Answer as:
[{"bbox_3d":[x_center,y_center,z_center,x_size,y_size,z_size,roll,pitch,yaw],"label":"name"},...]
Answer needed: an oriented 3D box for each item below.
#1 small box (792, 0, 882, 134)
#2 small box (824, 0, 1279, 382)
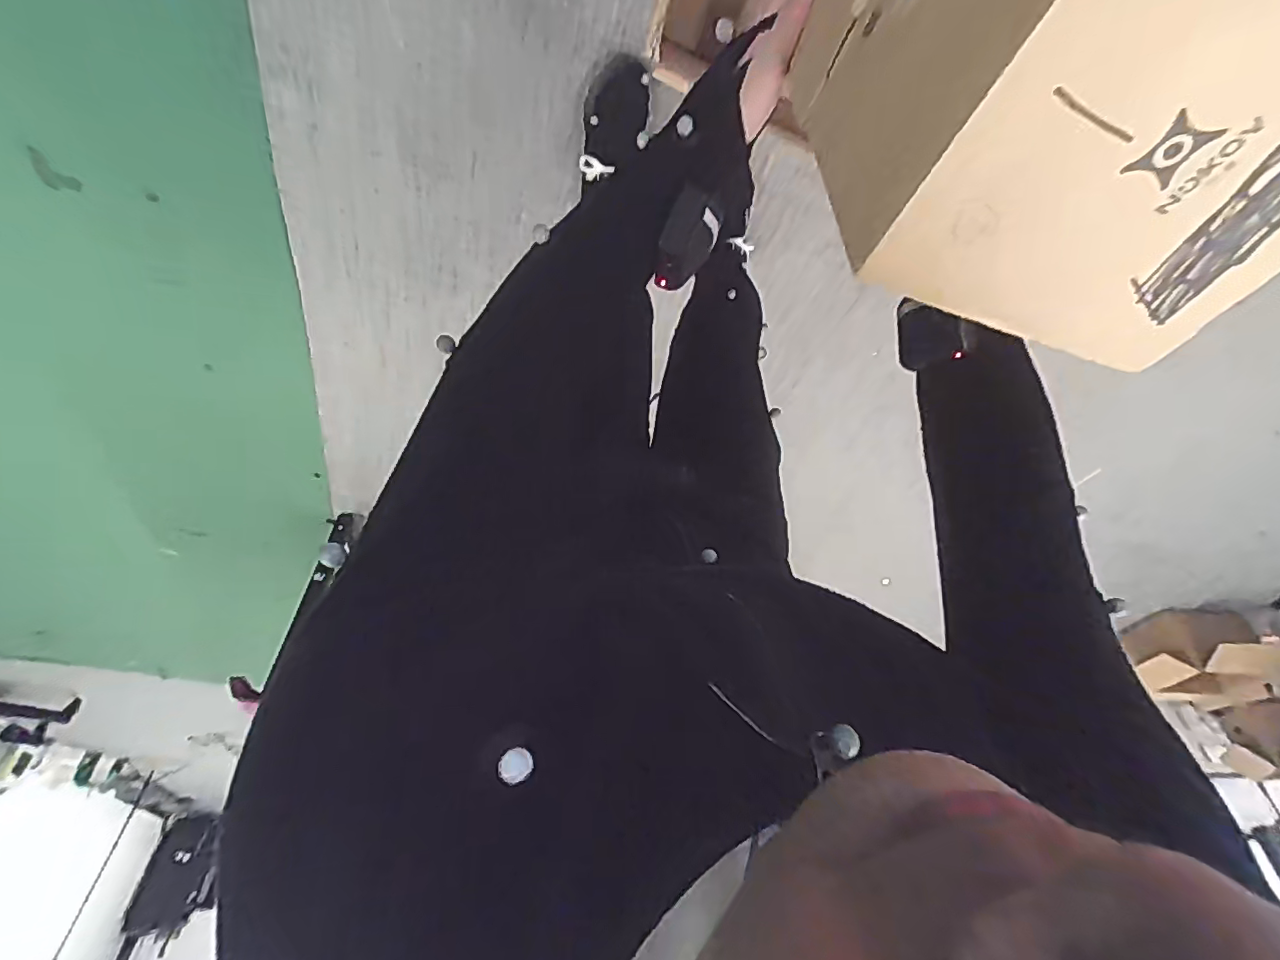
[{"bbox_3d":[0.216,-0.311,0.347,0.179,0.176,0.168,14,143,-13],"label":"small box"},{"bbox_3d":[0.211,-0.179,0.249,0.179,0.176,0.168,14,143,-12],"label":"small box"}]
